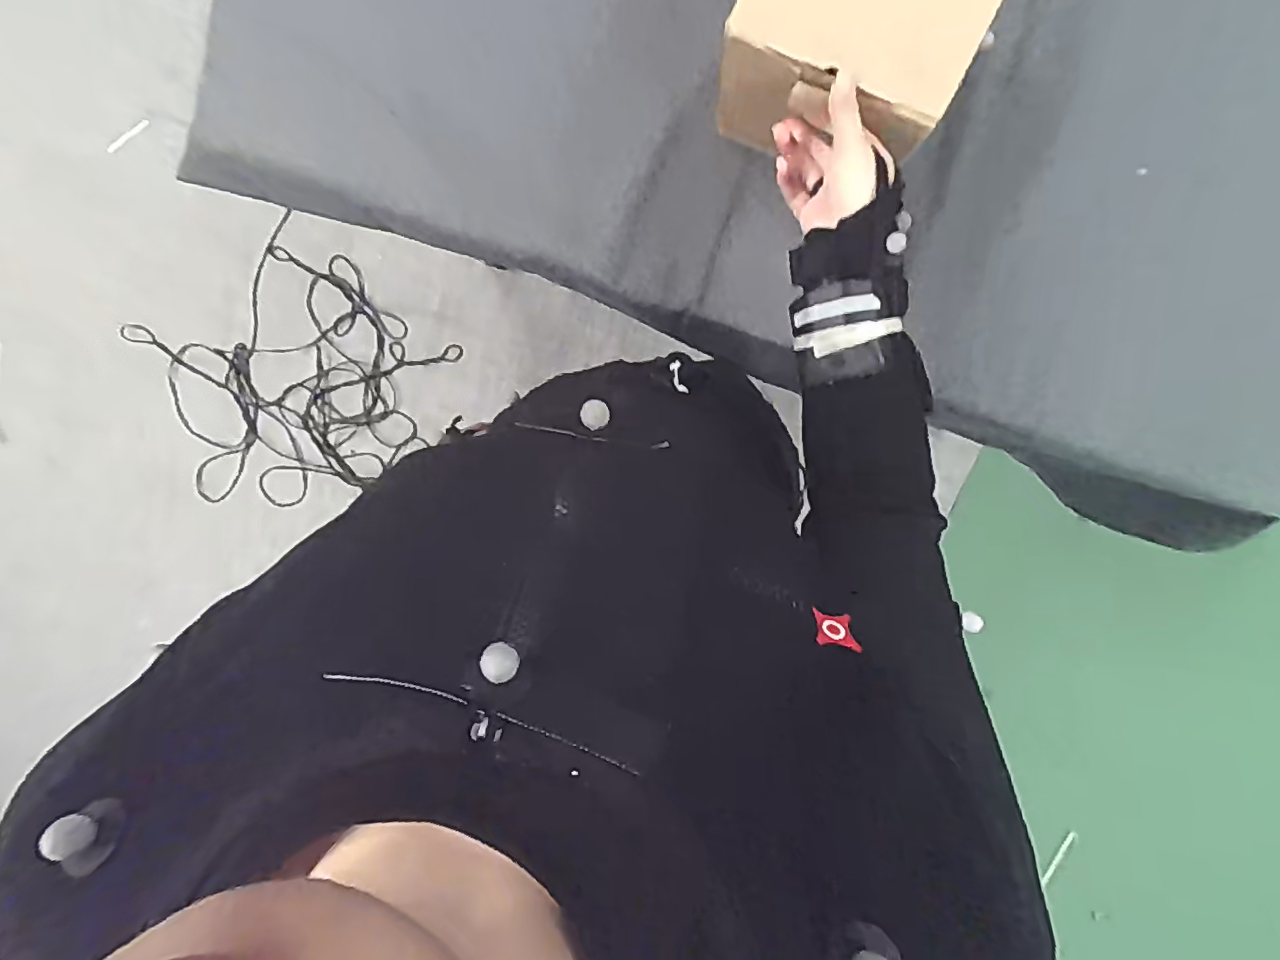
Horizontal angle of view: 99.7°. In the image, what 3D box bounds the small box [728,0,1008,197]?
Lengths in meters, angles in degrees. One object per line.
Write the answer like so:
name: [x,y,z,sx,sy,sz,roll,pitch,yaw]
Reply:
small box: [0.181,-0.367,0.443,0.168,0.176,0.179,24,101,1]
